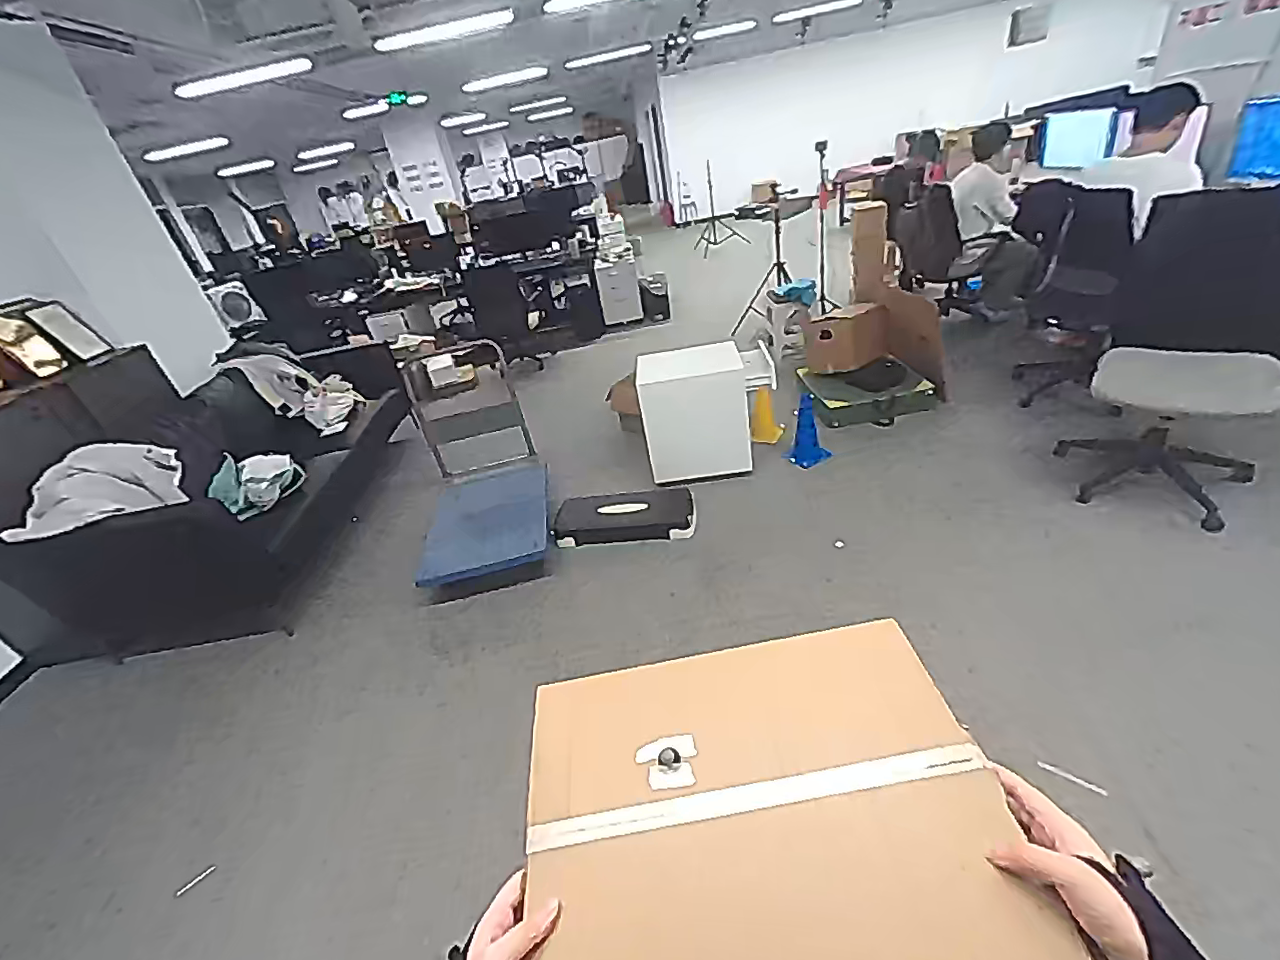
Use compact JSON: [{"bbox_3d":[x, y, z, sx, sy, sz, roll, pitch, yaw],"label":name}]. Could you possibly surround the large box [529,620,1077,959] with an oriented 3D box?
[{"bbox_3d":[0.127,0.405,0.581,0.408,0.320,0.320,-13,37,3],"label":"large box"}]
